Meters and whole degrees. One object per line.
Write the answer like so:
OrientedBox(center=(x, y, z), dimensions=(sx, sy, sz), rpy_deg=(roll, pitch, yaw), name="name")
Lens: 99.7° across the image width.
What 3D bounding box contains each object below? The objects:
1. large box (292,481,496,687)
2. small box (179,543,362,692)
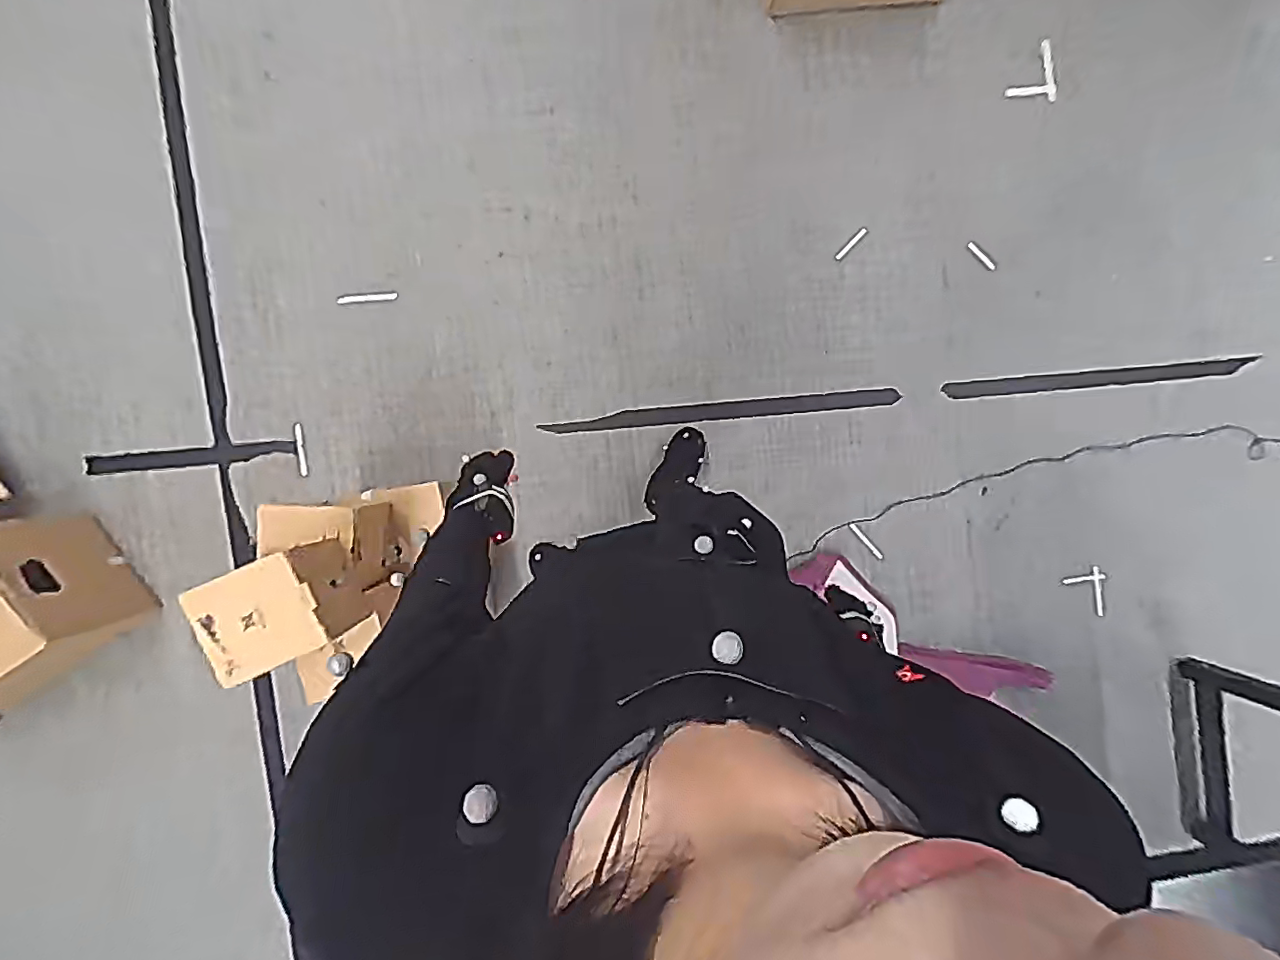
OrientedBox(center=(-0.571, 0.228, 1.325), dimensions=(0.320, 0.320, 0.408), rpy_deg=(-11, 91, -5), name="large box")
OrientedBox(center=(-0.602, 0.218, 0.914), dimensions=(0.179, 0.176, 0.168), rpy_deg=(-24, 93, -5), name="small box")
